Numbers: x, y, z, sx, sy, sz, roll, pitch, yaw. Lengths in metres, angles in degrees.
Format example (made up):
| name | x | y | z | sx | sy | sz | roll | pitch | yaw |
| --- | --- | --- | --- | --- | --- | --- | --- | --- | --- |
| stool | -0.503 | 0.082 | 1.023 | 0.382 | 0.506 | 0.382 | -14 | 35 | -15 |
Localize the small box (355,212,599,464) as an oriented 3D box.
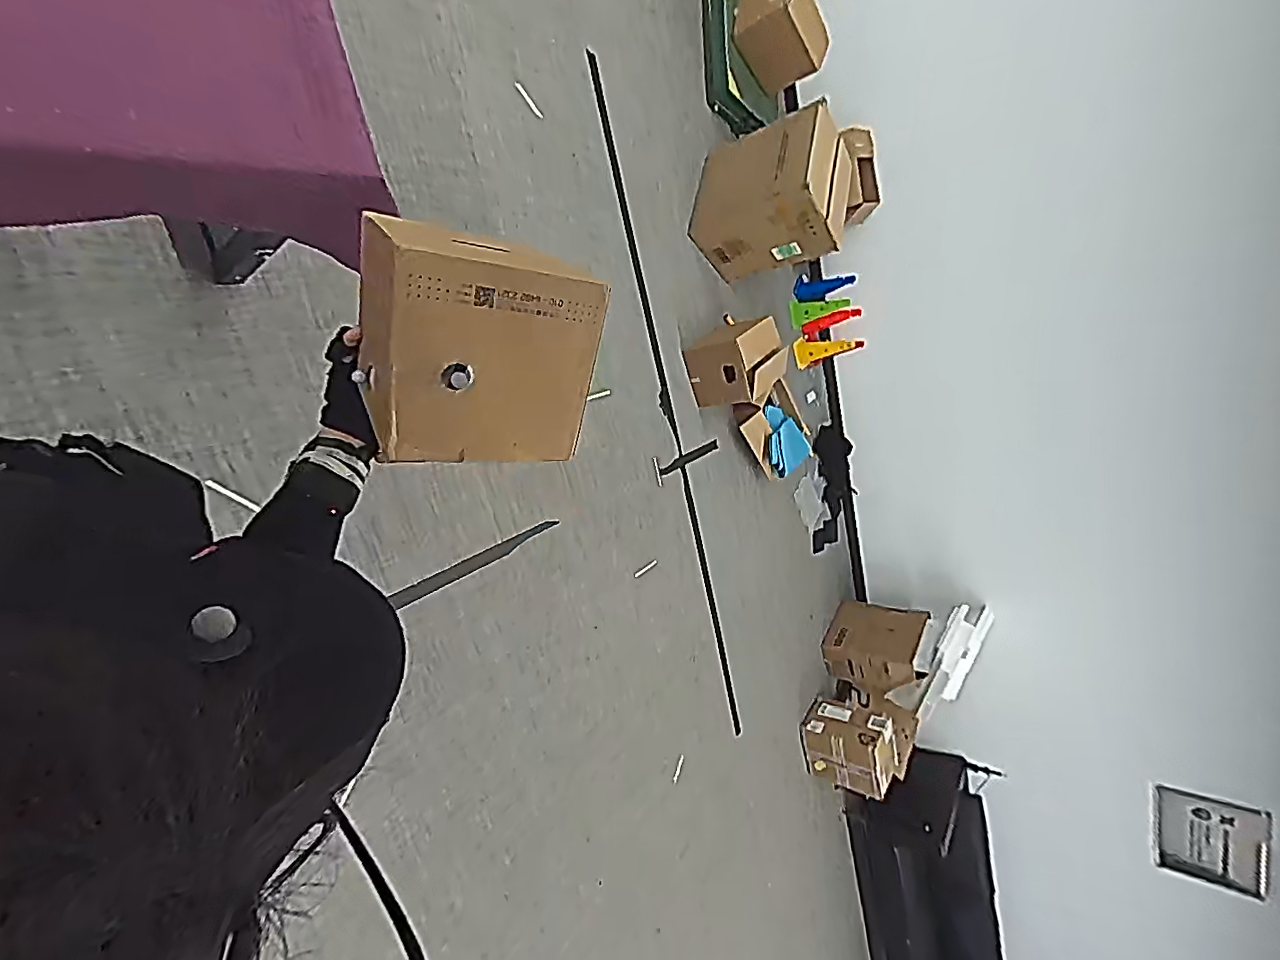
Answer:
| name | x | y | z | sx | sy | sz | roll | pitch | yaw |
| --- | --- | --- | --- | --- | --- | --- | --- | --- | --- |
| small box | -0.151 | -0.128 | 0.487 | 0.168 | 0.179 | 0.176 | -1 | 120 | -36 |
